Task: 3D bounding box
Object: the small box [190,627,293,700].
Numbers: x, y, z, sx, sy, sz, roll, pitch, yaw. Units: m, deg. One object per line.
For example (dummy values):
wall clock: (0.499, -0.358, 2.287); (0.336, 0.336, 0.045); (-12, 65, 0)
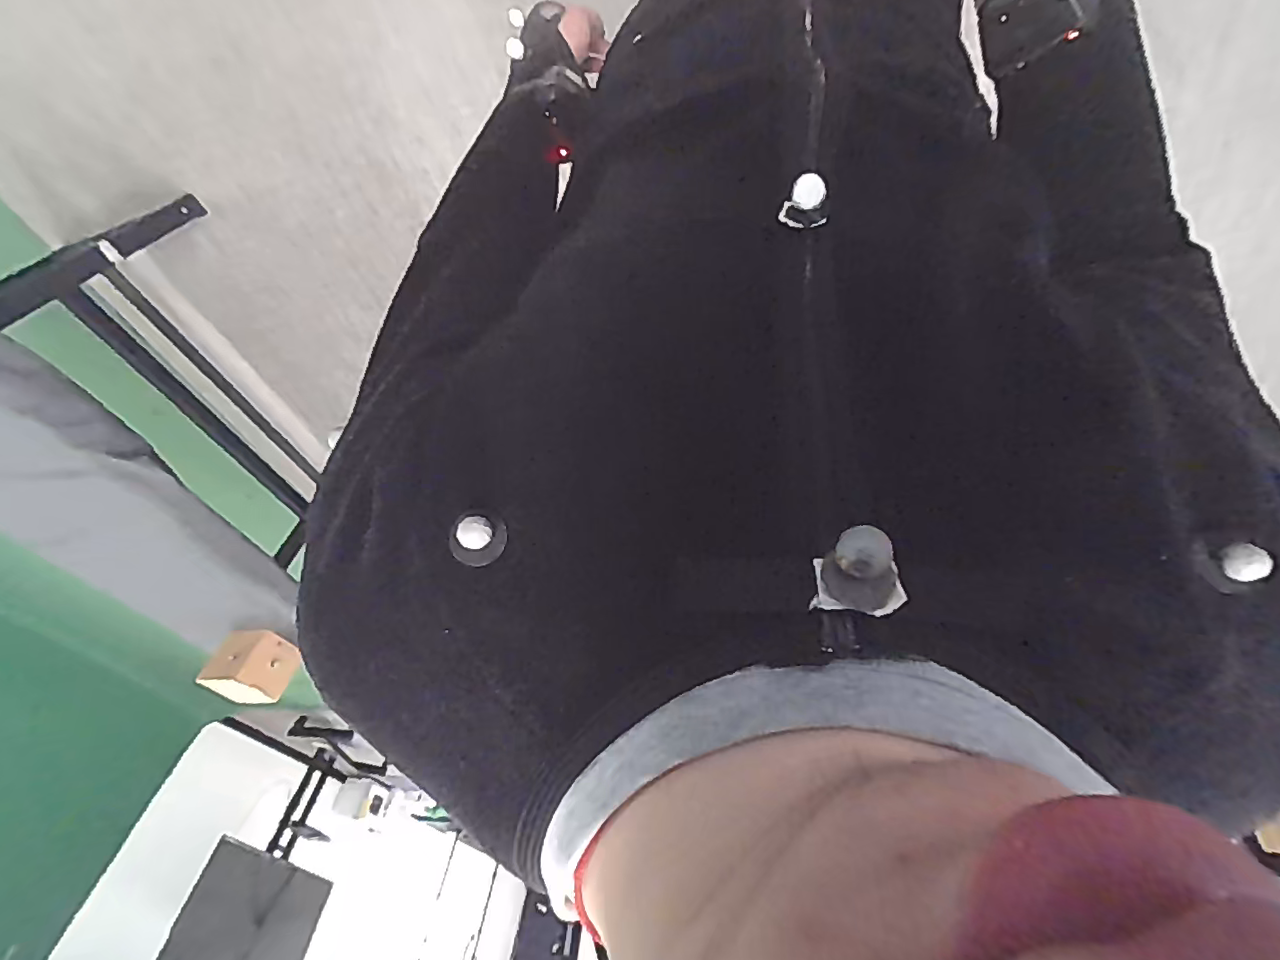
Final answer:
small box: (-1.248, 0.580, 1.715); (0.179, 0.176, 0.168); (-9, 133, 18)
